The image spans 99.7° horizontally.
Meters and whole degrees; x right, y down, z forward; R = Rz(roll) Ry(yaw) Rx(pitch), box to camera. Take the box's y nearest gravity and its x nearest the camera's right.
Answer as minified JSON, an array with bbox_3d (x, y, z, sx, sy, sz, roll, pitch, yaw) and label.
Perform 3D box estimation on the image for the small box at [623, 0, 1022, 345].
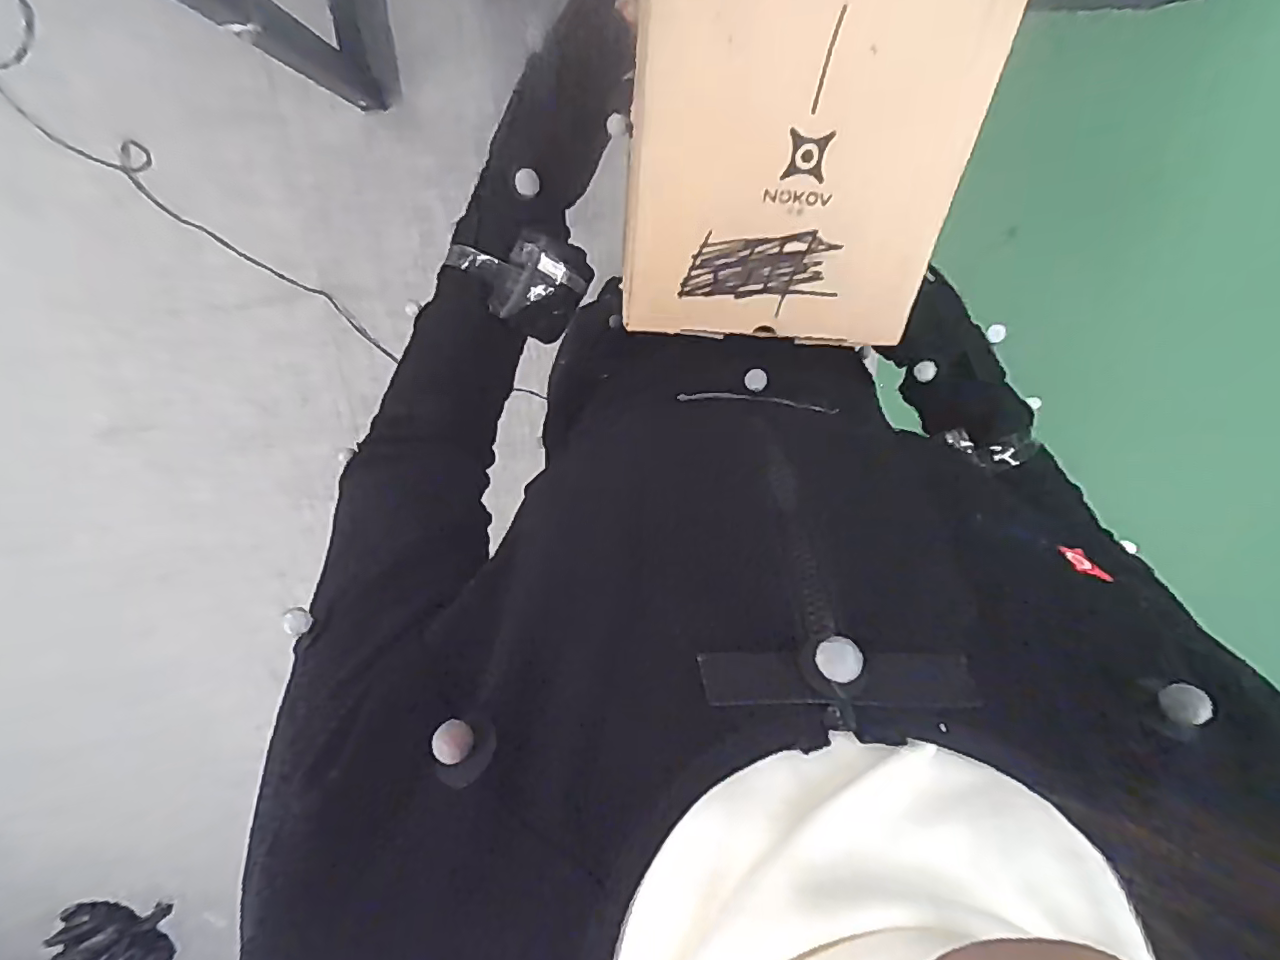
[{"bbox_3d":[0.079,-0.208,0.344,0.168,0.176,0.179,3,128,-5],"label":"small box"}]
